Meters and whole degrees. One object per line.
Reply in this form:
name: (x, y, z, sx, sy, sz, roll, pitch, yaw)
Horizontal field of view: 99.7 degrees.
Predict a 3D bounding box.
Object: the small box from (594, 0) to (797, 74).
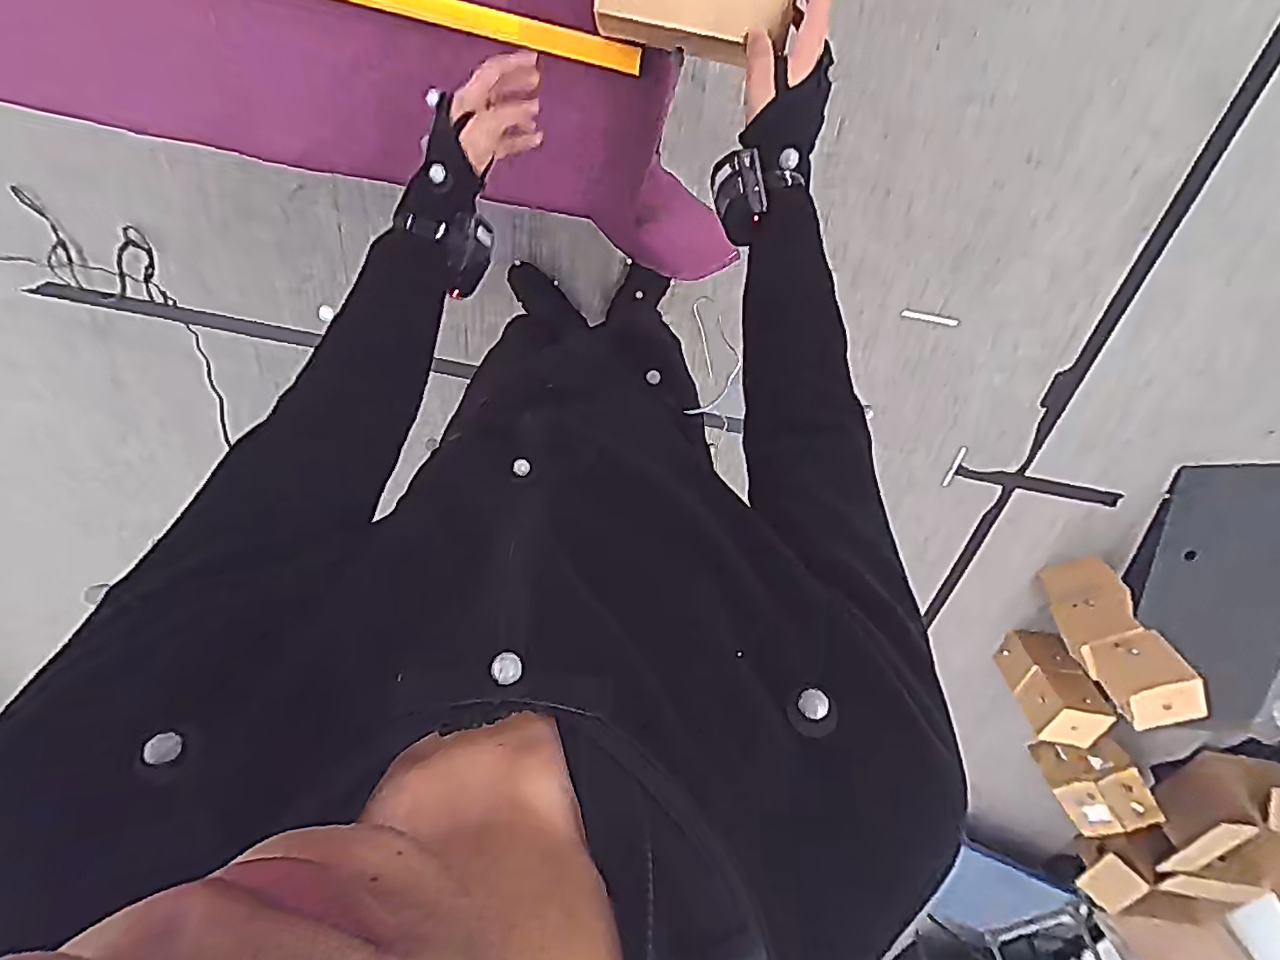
small box: (0.055, -0.505, 0.515, 0.179, 0.176, 0.168, 7, 124, -8)
